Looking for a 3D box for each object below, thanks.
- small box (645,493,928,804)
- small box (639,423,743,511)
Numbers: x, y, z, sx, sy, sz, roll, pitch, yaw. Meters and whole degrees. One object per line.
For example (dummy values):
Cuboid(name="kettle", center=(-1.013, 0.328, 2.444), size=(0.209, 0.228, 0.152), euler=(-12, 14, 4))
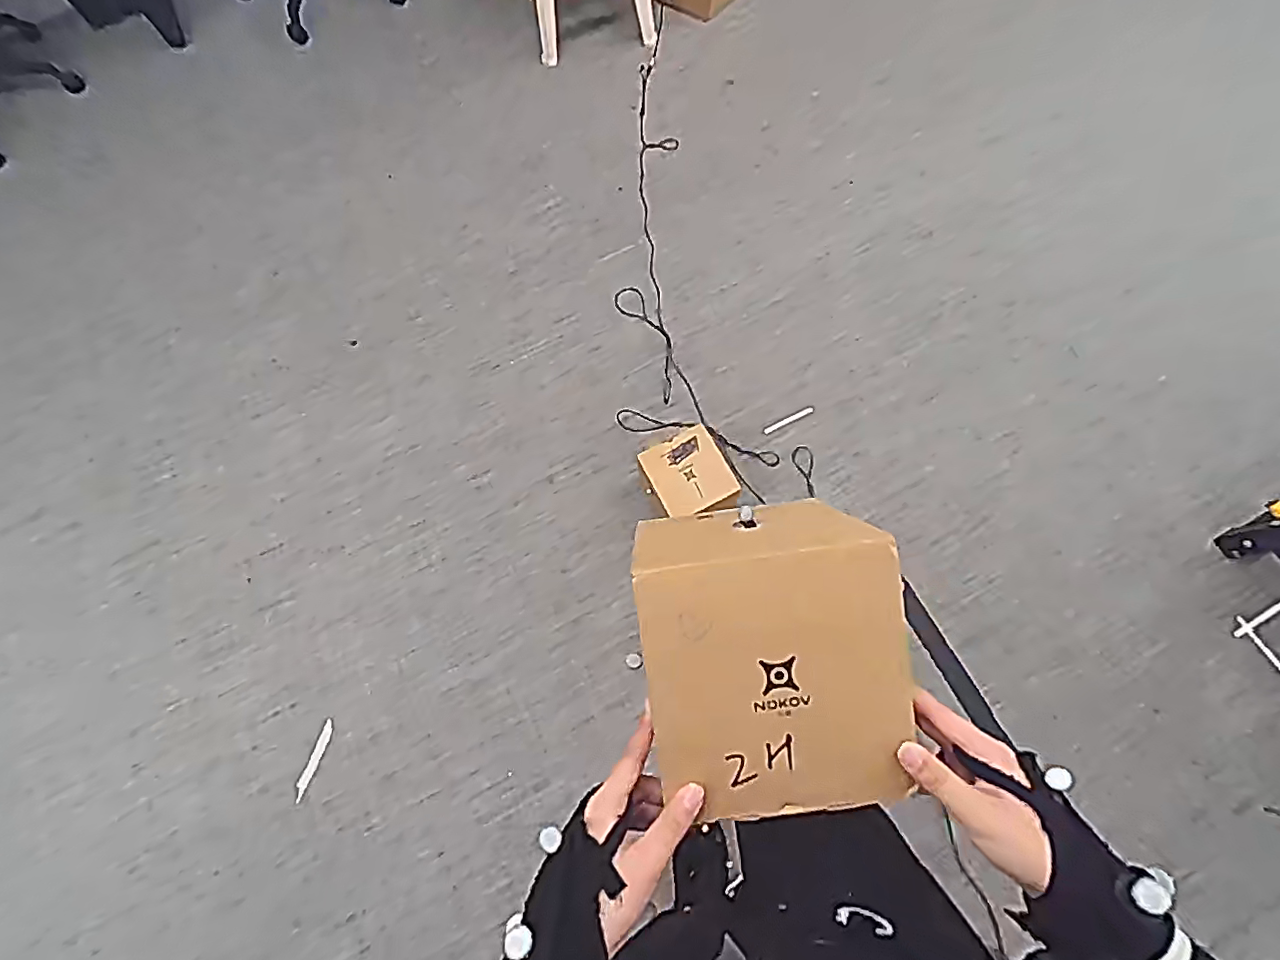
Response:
Cuboid(name="small box", center=(0.095, 0.108, 0.420), size=(0.168, 0.176, 0.179), euler=(-8, 96, 3))
Cuboid(name="small box", center=(0.109, 0.005, 1.226), size=(0.168, 0.176, 0.179), euler=(-27, 73, -6))
